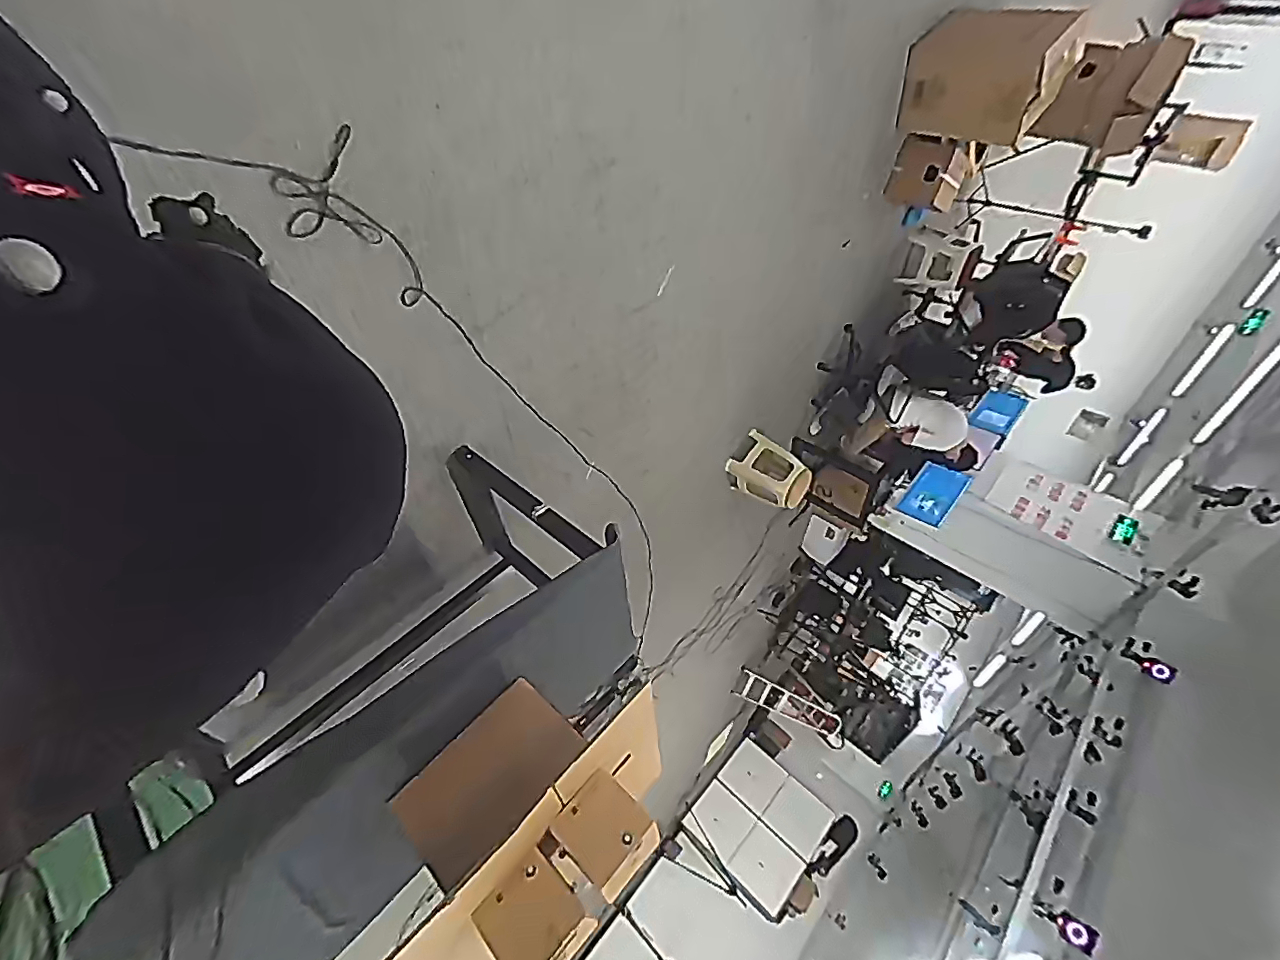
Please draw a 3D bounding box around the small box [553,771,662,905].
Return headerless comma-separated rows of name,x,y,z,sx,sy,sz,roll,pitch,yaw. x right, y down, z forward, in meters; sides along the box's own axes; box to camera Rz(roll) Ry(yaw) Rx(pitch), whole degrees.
small box,-0.068,0.783,1.193,0.168,0.176,0.179,-40,145,-30
